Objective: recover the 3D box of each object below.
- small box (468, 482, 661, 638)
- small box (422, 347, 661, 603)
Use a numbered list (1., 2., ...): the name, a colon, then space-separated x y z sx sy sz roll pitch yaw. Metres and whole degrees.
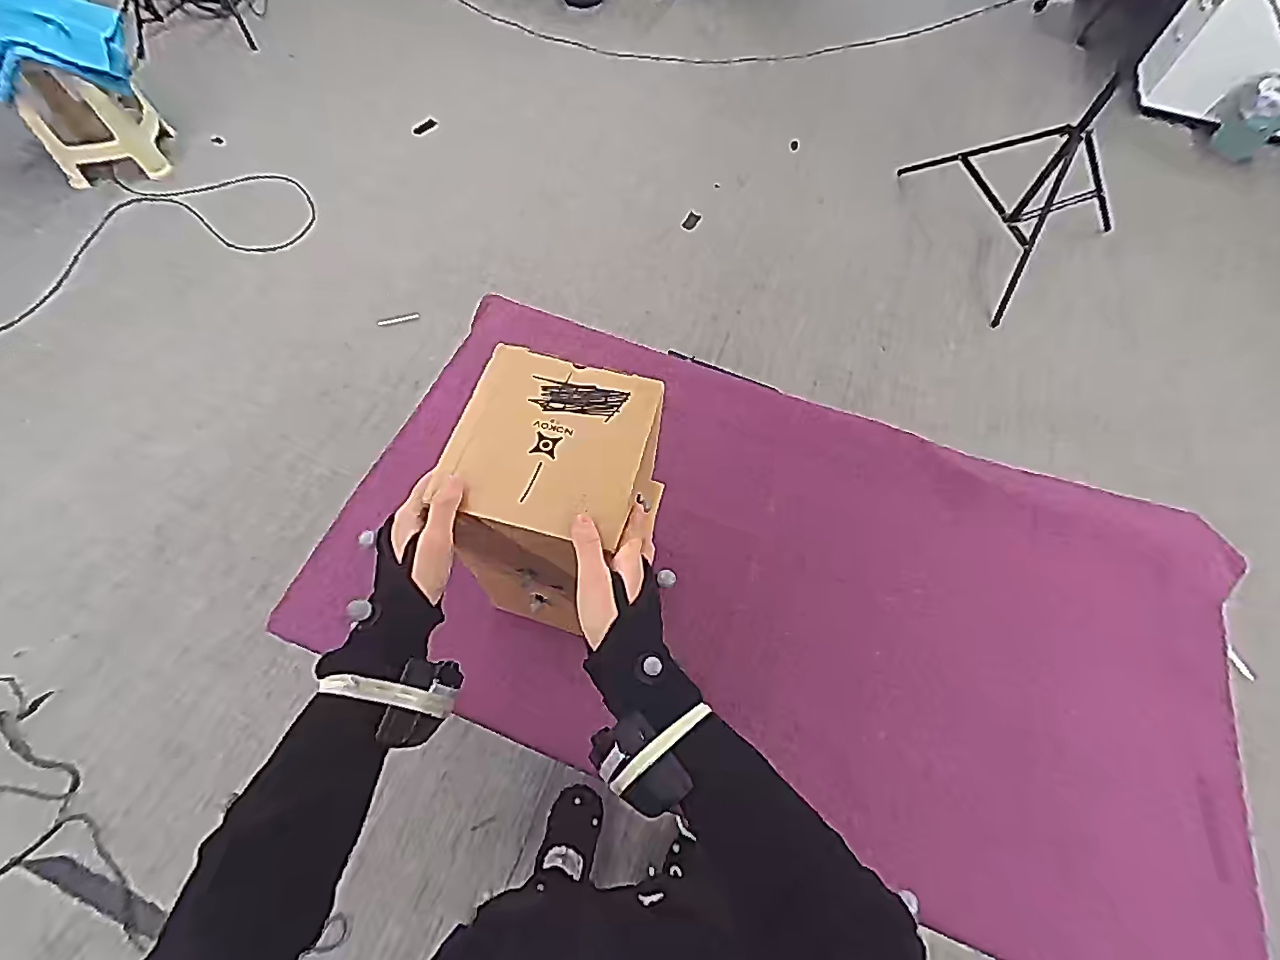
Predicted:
1. small box: -0.085 0.087 0.683 0.179 0.176 0.168 16 63 6
2. small box: -0.084 0.003 0.541 0.168 0.176 0.179 14 63 5
